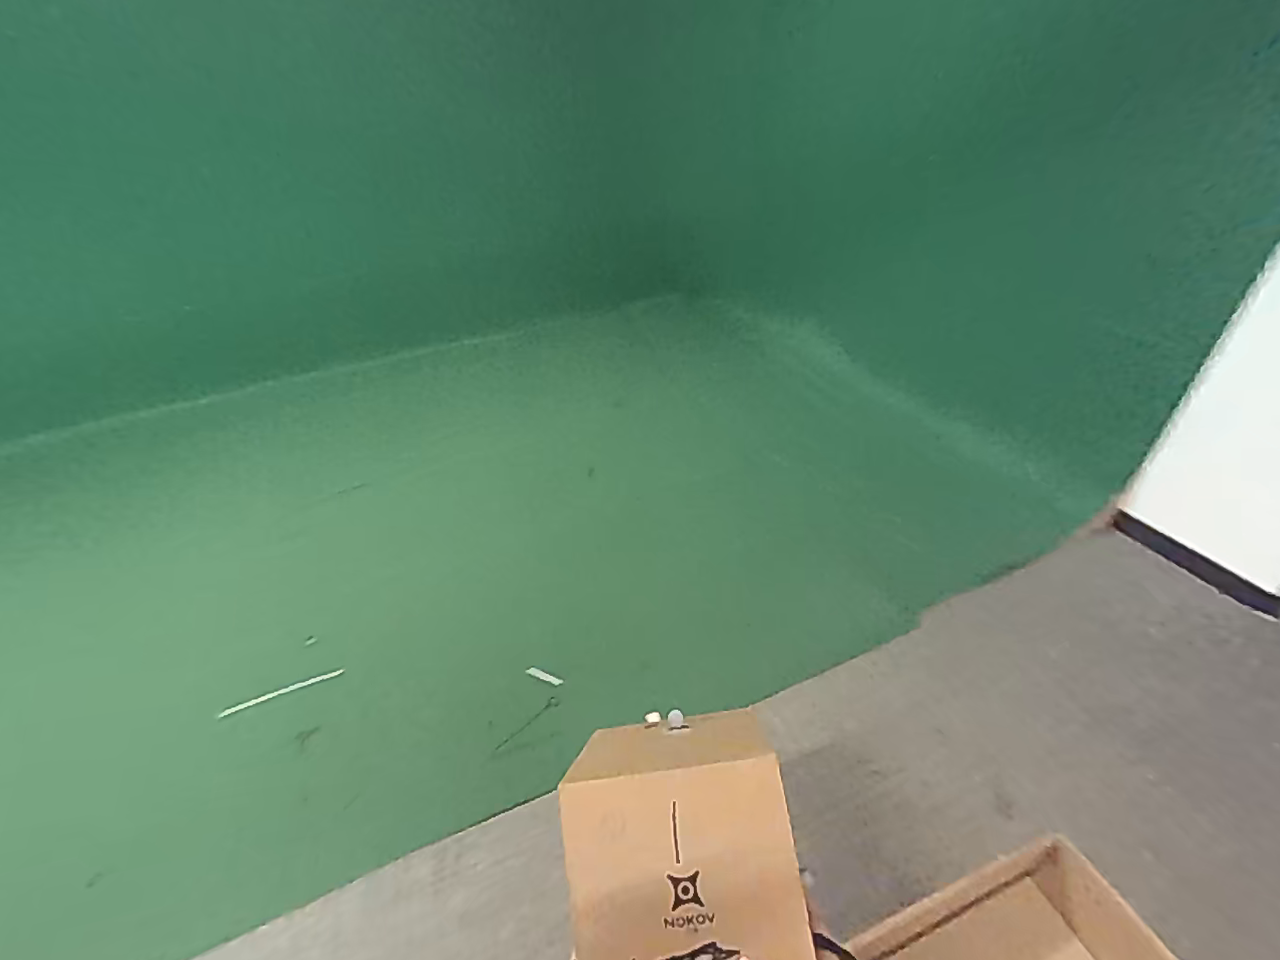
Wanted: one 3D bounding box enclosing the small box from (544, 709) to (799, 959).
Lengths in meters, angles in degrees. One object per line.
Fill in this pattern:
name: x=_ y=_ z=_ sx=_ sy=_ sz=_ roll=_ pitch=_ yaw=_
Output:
small box: x=0.029 y=0.312 z=0.456 sx=0.168 sy=0.176 sz=0.179 roll=-11 pitch=77 yaw=3
